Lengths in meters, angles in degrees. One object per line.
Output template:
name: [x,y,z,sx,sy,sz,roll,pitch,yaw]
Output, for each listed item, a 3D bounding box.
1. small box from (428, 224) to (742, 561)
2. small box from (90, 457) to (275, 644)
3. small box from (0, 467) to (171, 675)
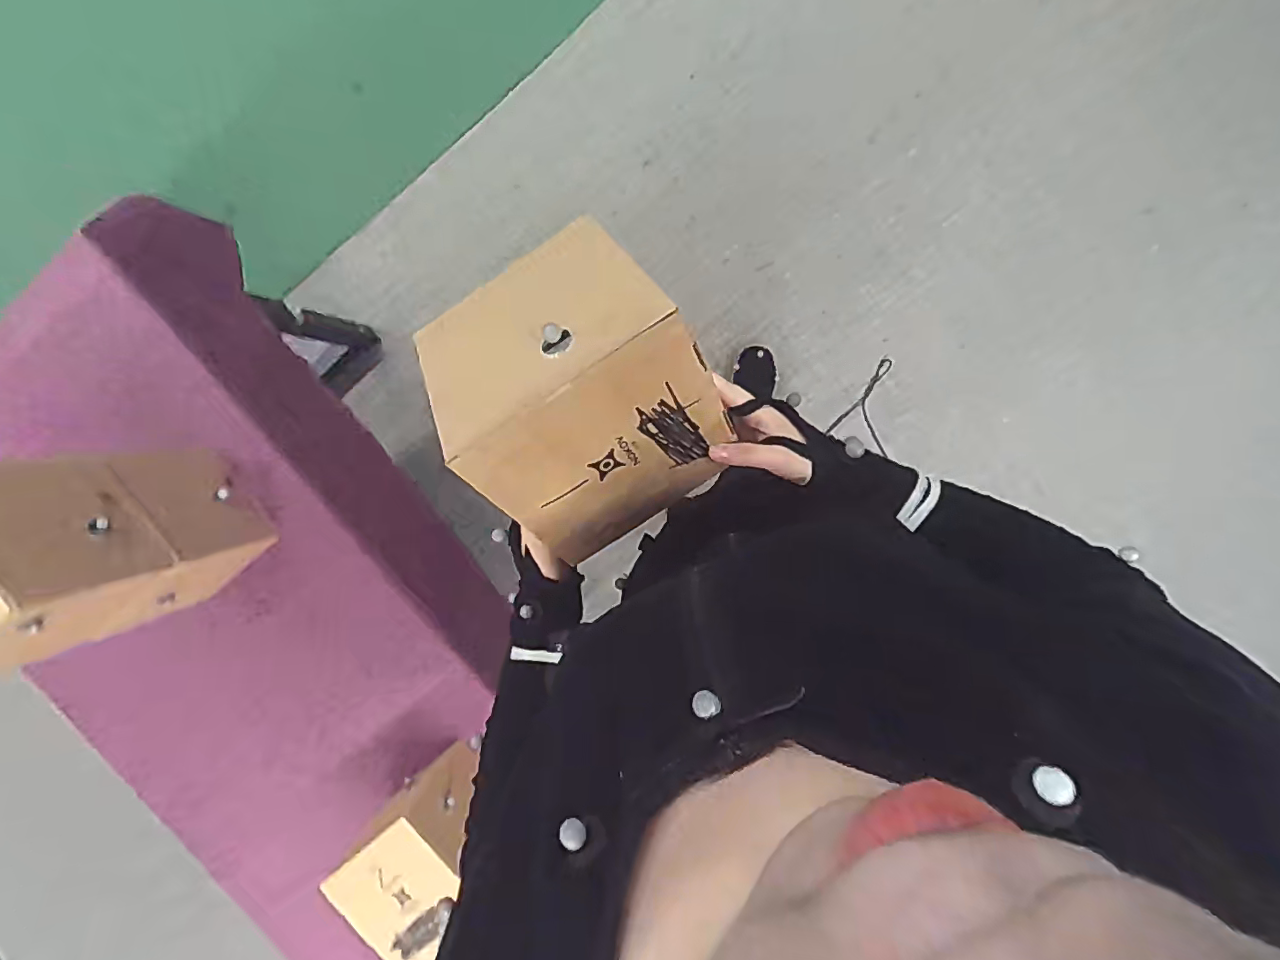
small box: [-0.047,-0.072,0.443,0.179,0.168,0.176,-32,50,3]
small box: [-0.665,0.085,0.747,0.179,0.176,0.168,-38,93,8]
small box: [-0.682,0.103,0.586,0.179,0.176,0.168,-38,92,8]
